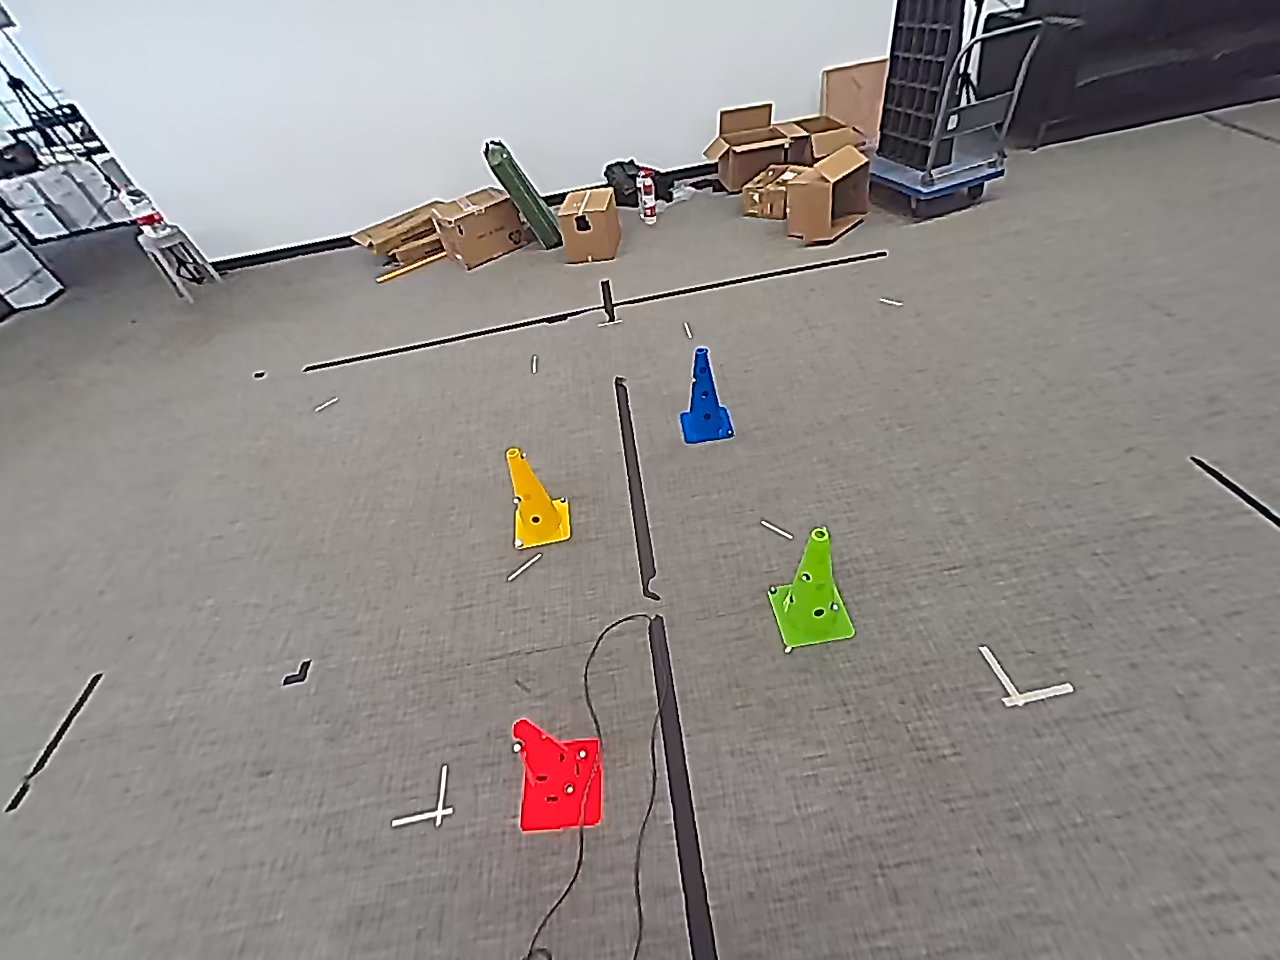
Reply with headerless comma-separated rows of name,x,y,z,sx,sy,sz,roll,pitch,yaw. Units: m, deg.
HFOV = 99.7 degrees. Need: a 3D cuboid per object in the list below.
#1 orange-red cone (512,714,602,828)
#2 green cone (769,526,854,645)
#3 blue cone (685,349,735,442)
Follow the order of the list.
orange-red cone,-0.221,0.624,1.225,0.199,0.360,0.198,-8,43,5
green cone,0.471,0.258,1.449,0.202,0.368,0.200,-9,44,0
blue cone,0.264,-0.341,2.115,0.192,0.380,0.193,-7,45,3
